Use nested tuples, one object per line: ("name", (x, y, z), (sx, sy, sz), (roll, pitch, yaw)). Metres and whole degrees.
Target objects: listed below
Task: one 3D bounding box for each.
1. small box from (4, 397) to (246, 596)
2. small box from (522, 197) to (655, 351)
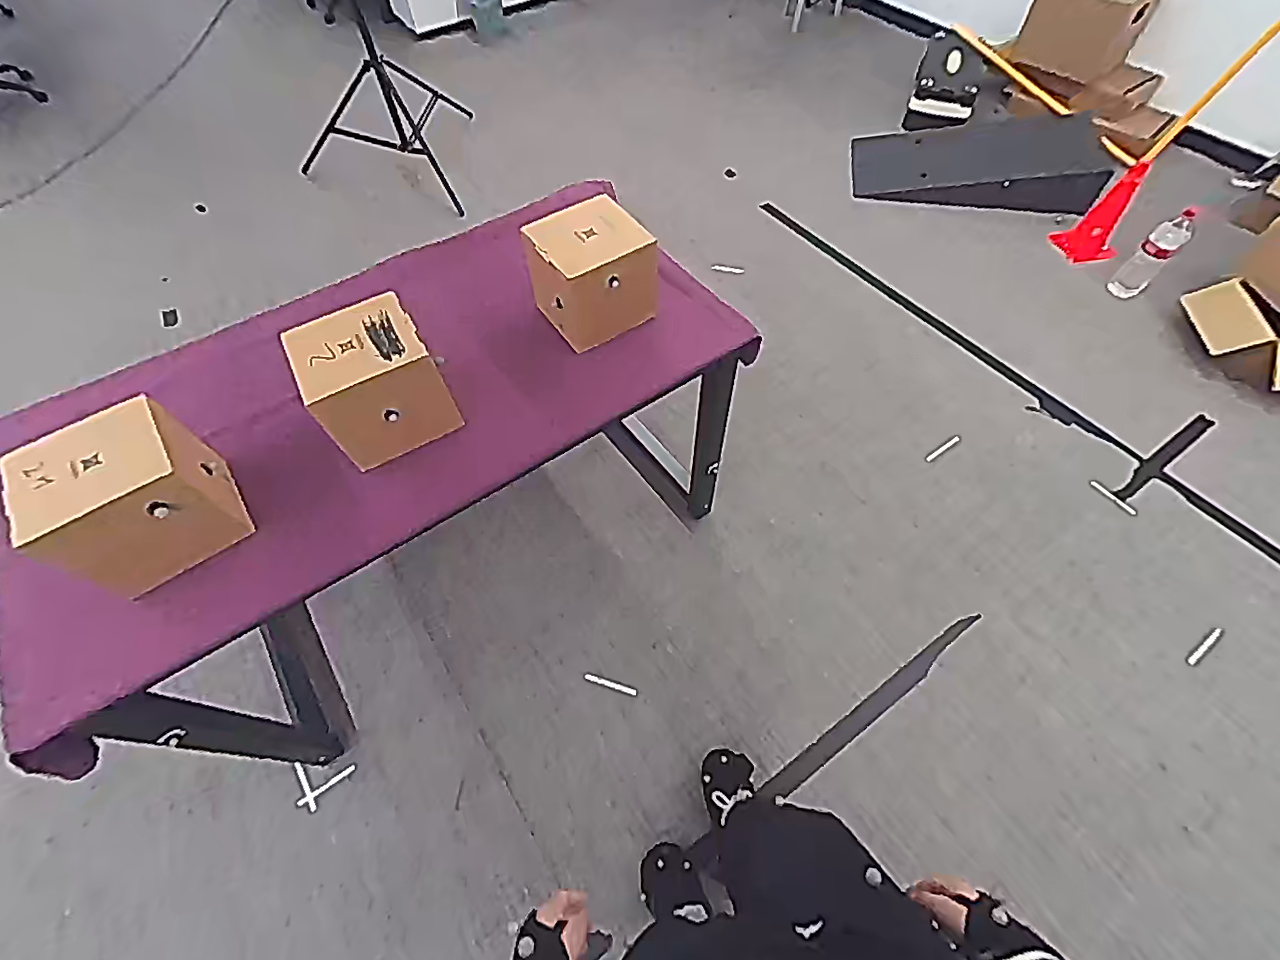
("small box", (-0.687, 0.026, 0.744), (0.179, 0.176, 0.168), (-34, 62, -18))
("small box", (-0.085, -0.364, 0.972), (0.179, 0.176, 0.168), (-30, 63, -17))
